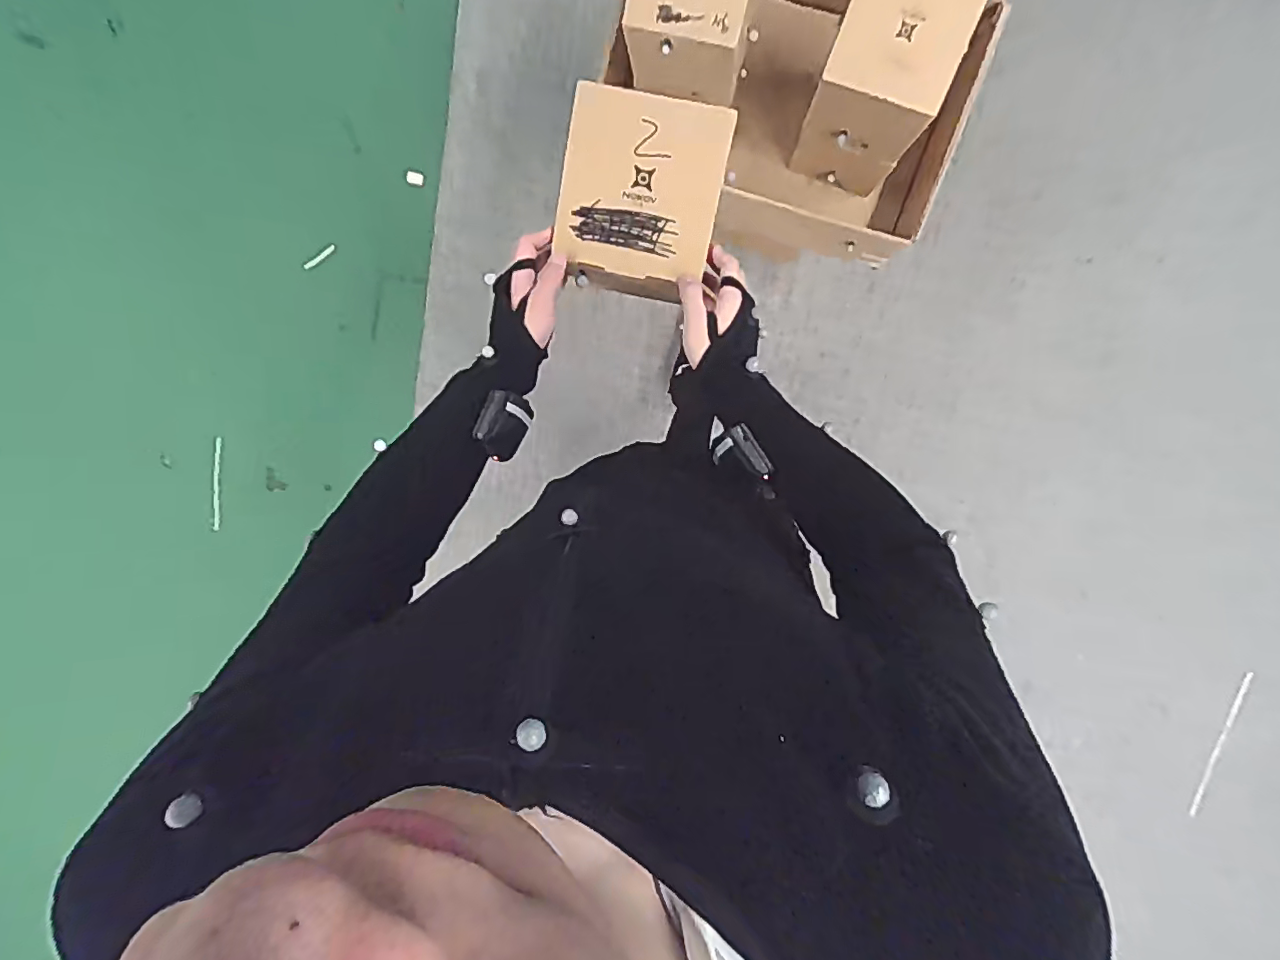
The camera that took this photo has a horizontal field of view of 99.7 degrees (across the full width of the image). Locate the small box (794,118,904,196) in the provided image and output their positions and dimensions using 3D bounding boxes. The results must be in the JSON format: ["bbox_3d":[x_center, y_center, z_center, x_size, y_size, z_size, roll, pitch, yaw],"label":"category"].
[{"bbox_3d":[0.385,-0.633,0.941,0.168,0.176,0.179,22,102,2],"label":"small box"}]

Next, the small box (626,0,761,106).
[{"bbox_3d":[0.087,-0.699,0.794,0.168,0.176,0.179,16,102,4],"label":"small box"}]

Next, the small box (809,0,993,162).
[{"bbox_3d":[0.363,-0.604,0.782,0.168,0.176,0.179,22,102,2],"label":"small box"}]
